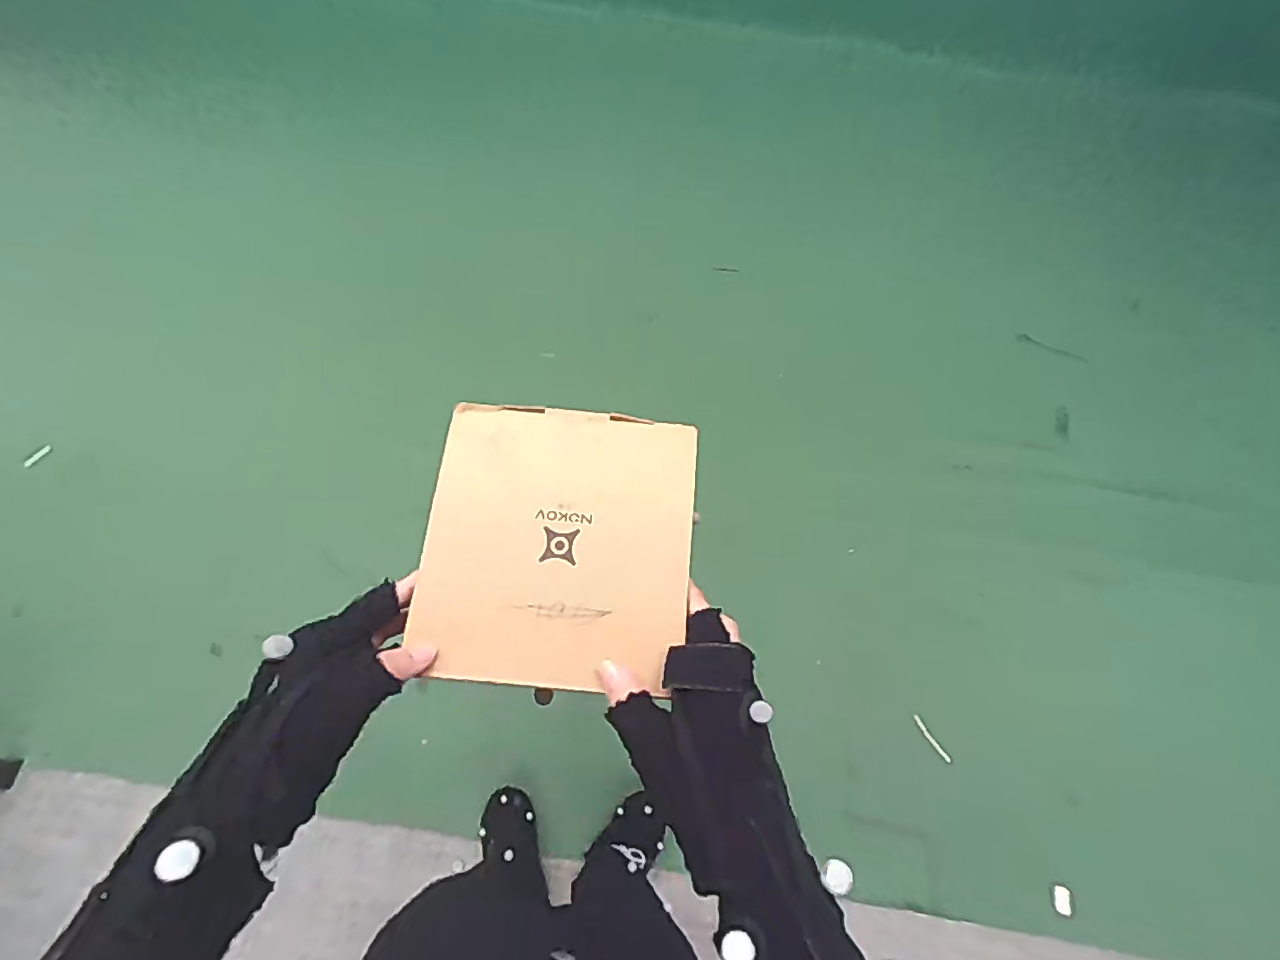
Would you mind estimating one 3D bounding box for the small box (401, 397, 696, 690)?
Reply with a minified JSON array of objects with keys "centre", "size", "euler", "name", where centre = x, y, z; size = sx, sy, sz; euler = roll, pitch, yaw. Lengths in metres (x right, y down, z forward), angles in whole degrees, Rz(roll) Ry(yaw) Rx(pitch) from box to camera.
[{"centre":[-0.055,0.058,0.417],"size":[0.168,0.176,0.179],"euler":[6,72,-1],"name":"small box"}]
